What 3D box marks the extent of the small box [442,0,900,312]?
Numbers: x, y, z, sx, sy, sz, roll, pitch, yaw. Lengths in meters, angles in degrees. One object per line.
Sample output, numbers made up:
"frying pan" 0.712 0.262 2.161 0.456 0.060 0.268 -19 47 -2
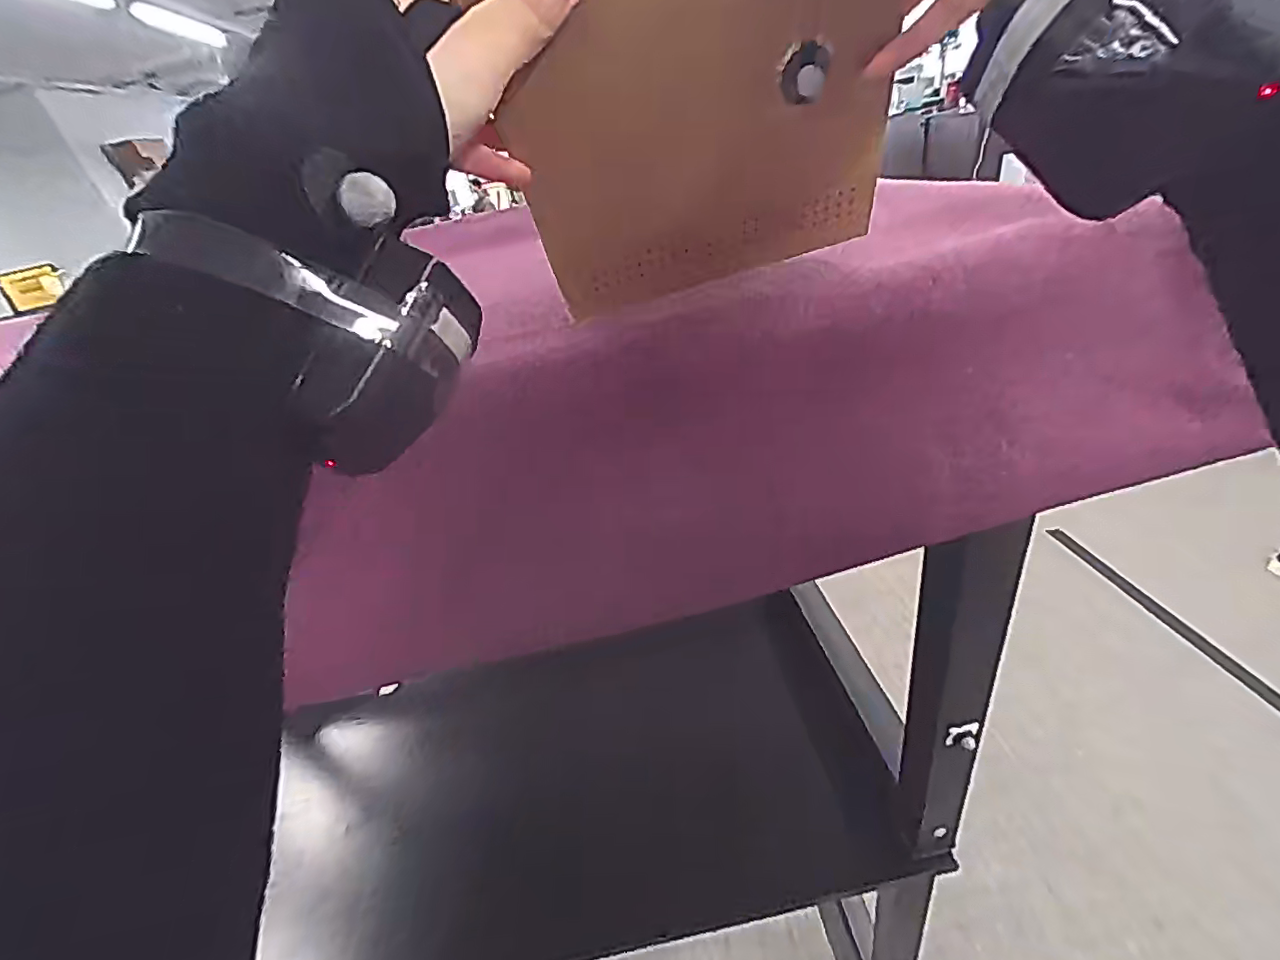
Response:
"small box" 0.011 -0.217 0.274 0.179 0.176 0.168 -16 53 3
